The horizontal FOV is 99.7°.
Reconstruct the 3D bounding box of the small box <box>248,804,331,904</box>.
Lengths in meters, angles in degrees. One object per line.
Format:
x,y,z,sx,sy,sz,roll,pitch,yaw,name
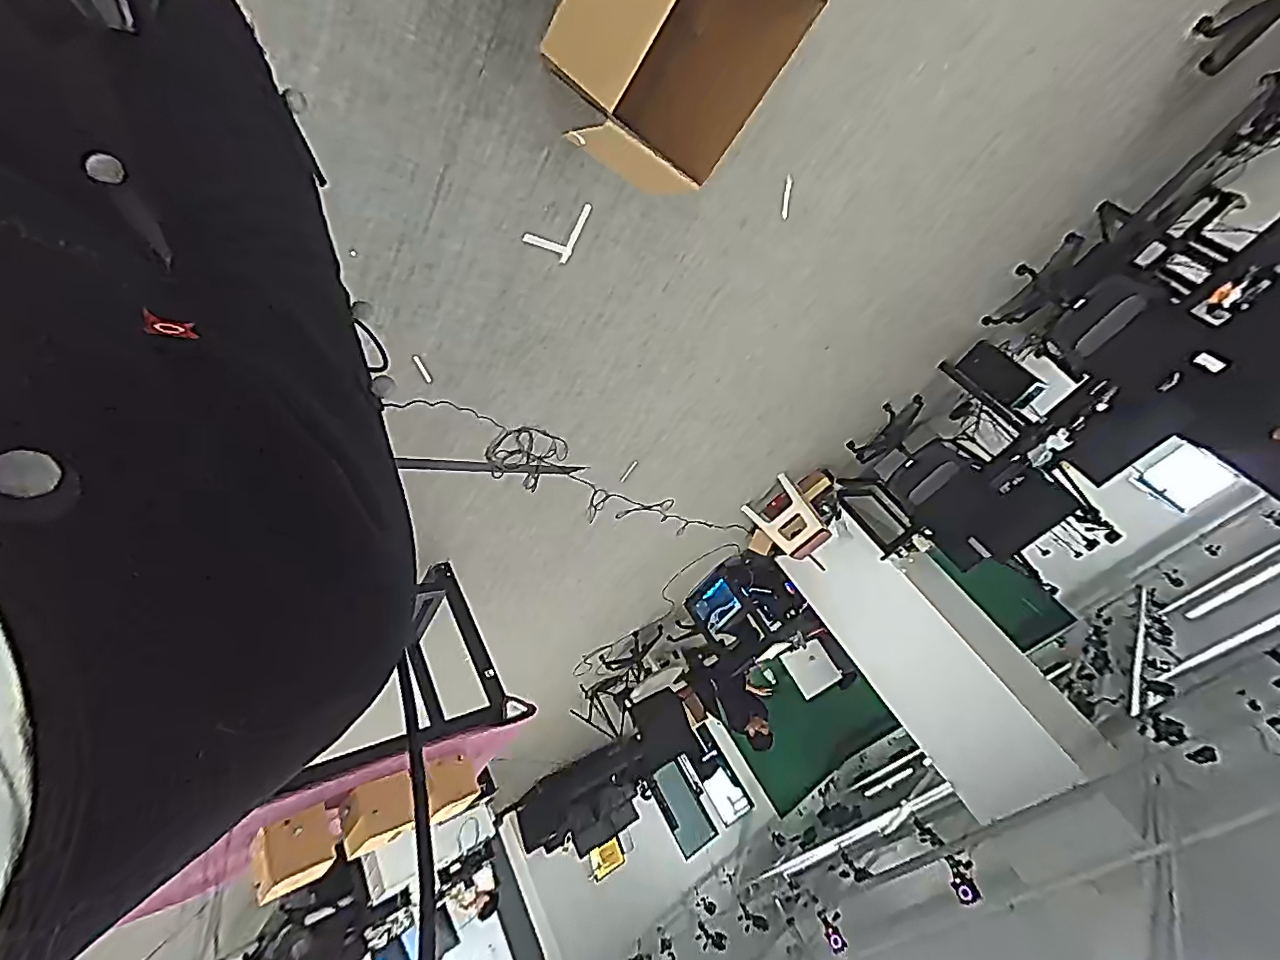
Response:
-1.051,1.109,1.613,0.168,0.176,0.179,1,135,-48,small box

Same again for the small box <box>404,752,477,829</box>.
-0.731,1.119,1.968,0.168,0.176,0.179,7,130,-51,small box
